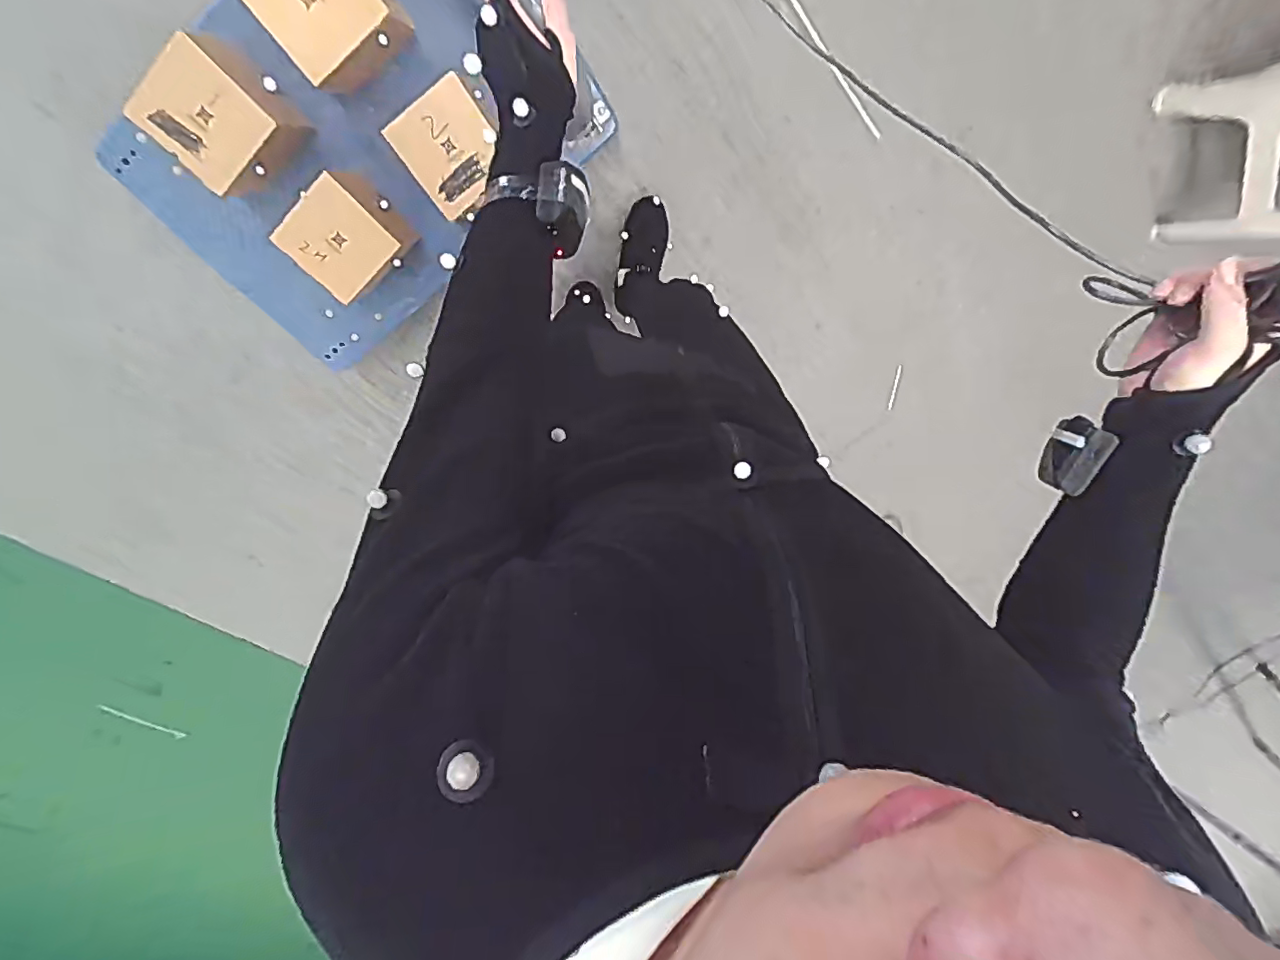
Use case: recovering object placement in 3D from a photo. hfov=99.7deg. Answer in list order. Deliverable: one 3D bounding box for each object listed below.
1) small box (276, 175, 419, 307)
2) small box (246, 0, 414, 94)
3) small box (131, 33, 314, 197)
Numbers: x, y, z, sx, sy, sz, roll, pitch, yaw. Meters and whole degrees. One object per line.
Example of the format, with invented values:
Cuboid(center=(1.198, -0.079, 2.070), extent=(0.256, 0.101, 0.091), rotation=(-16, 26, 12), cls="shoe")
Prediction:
Cuboid(center=(-0.571, -0.486, 1.087), extent=(0.179, 0.176, 0.168), rotation=(-37, 117, 15), cls="small box")
Cuboid(center=(-0.515, -0.791, 0.911), extent=(0.179, 0.176, 0.168), rotation=(-34, 119, 12), cls="small box")
Cuboid(center=(-0.732, -0.643, 0.973), extent=(0.179, 0.176, 0.168), rotation=(-38, 119, 14), cls="small box")
